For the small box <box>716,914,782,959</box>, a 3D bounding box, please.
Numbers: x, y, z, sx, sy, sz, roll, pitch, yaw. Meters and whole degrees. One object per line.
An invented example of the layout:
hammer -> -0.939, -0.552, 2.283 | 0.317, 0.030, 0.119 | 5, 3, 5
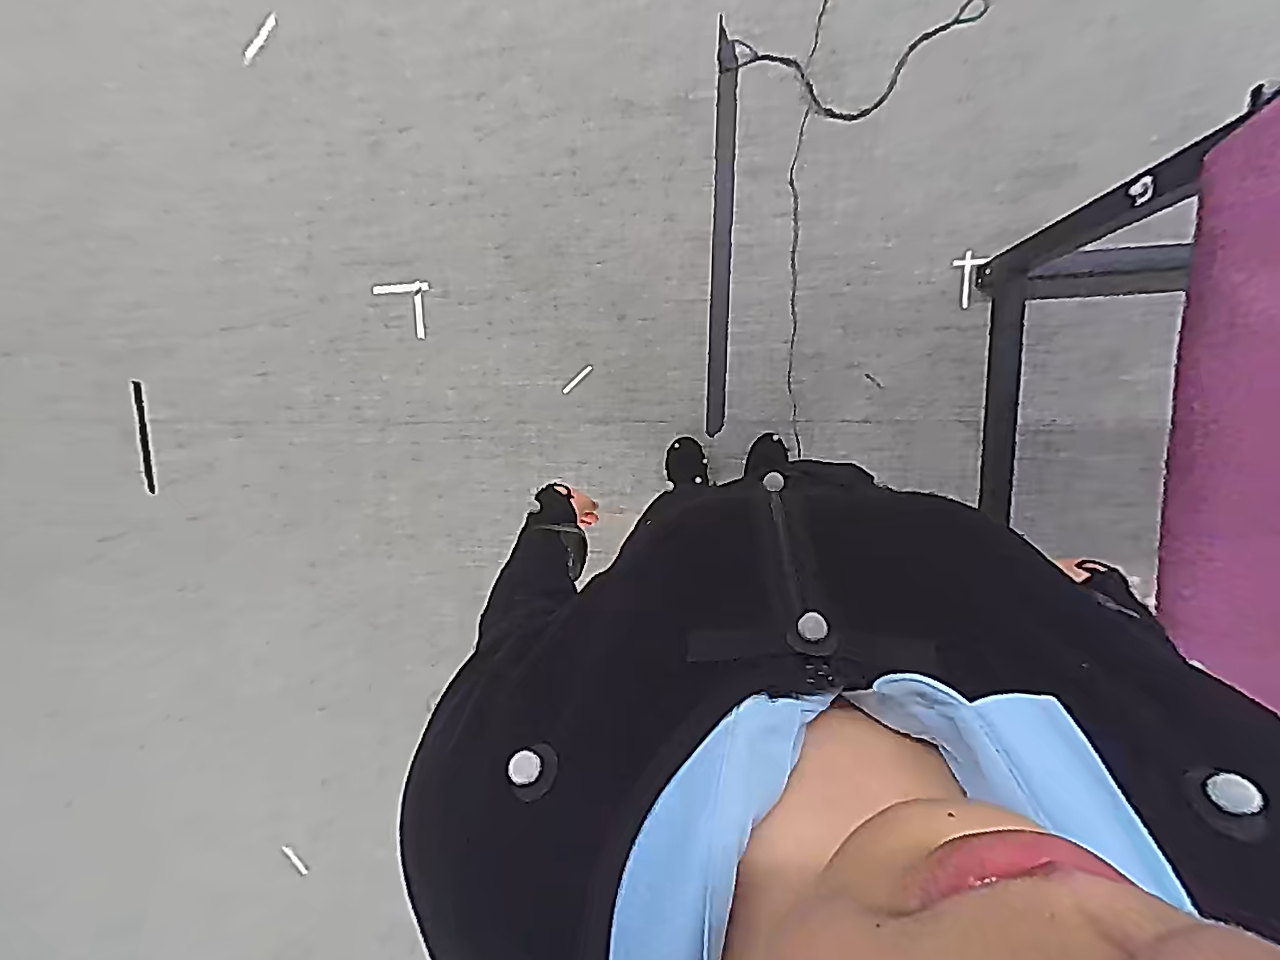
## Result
small box -> 0.310, 1.367, 1.520 | 0.179, 0.176, 0.168 | -5, 98, 10
